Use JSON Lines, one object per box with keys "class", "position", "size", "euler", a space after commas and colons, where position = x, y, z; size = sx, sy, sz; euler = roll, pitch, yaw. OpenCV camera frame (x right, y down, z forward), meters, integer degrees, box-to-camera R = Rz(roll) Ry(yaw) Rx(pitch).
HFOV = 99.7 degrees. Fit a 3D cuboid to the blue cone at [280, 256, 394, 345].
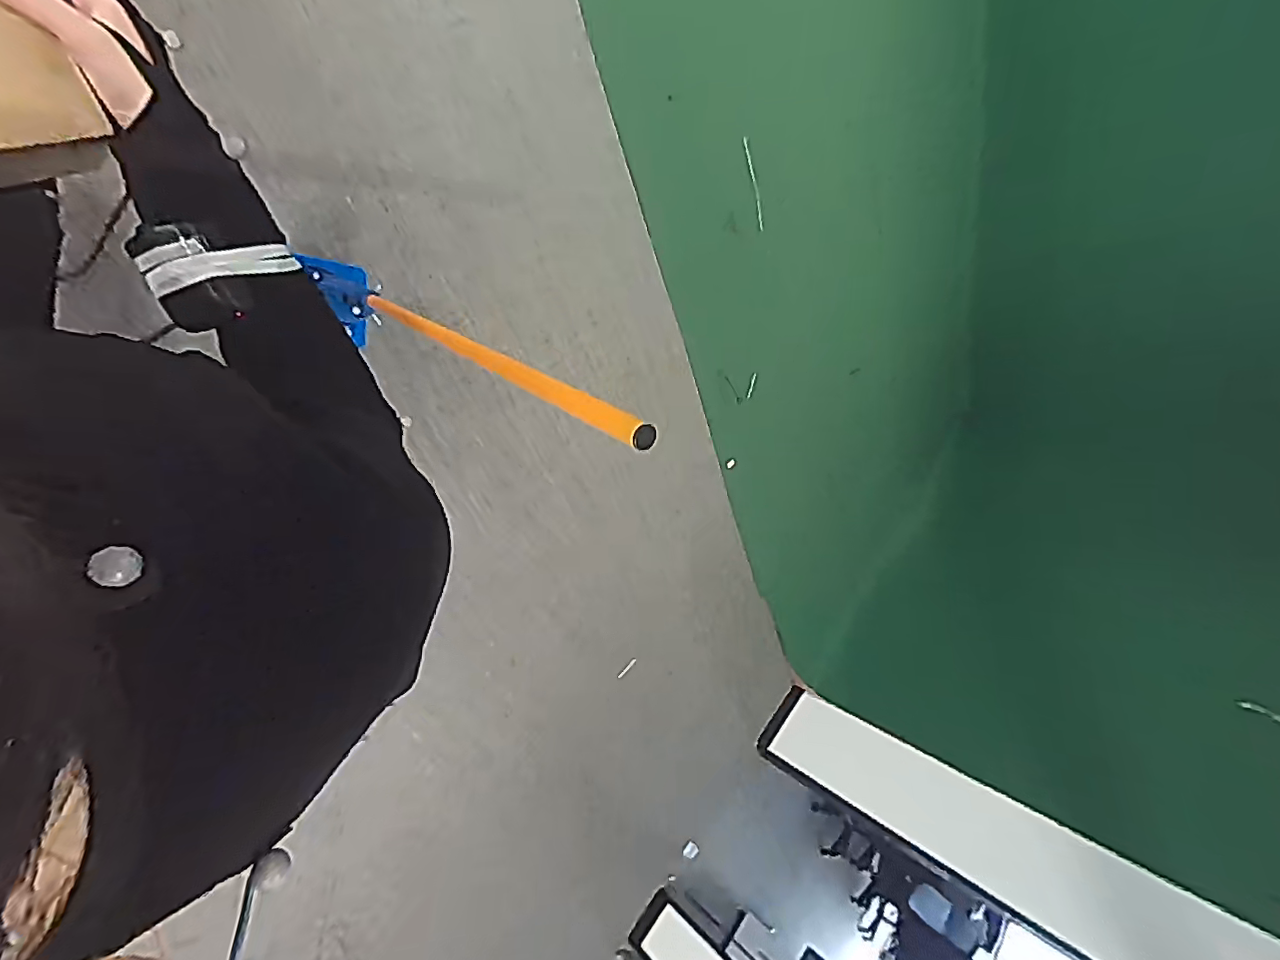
{"class": "blue cone", "position": [-0.621, -0.383, 1.164], "size": [0.193, 0.380, 0.192], "euler": [-8, 108, -44]}
